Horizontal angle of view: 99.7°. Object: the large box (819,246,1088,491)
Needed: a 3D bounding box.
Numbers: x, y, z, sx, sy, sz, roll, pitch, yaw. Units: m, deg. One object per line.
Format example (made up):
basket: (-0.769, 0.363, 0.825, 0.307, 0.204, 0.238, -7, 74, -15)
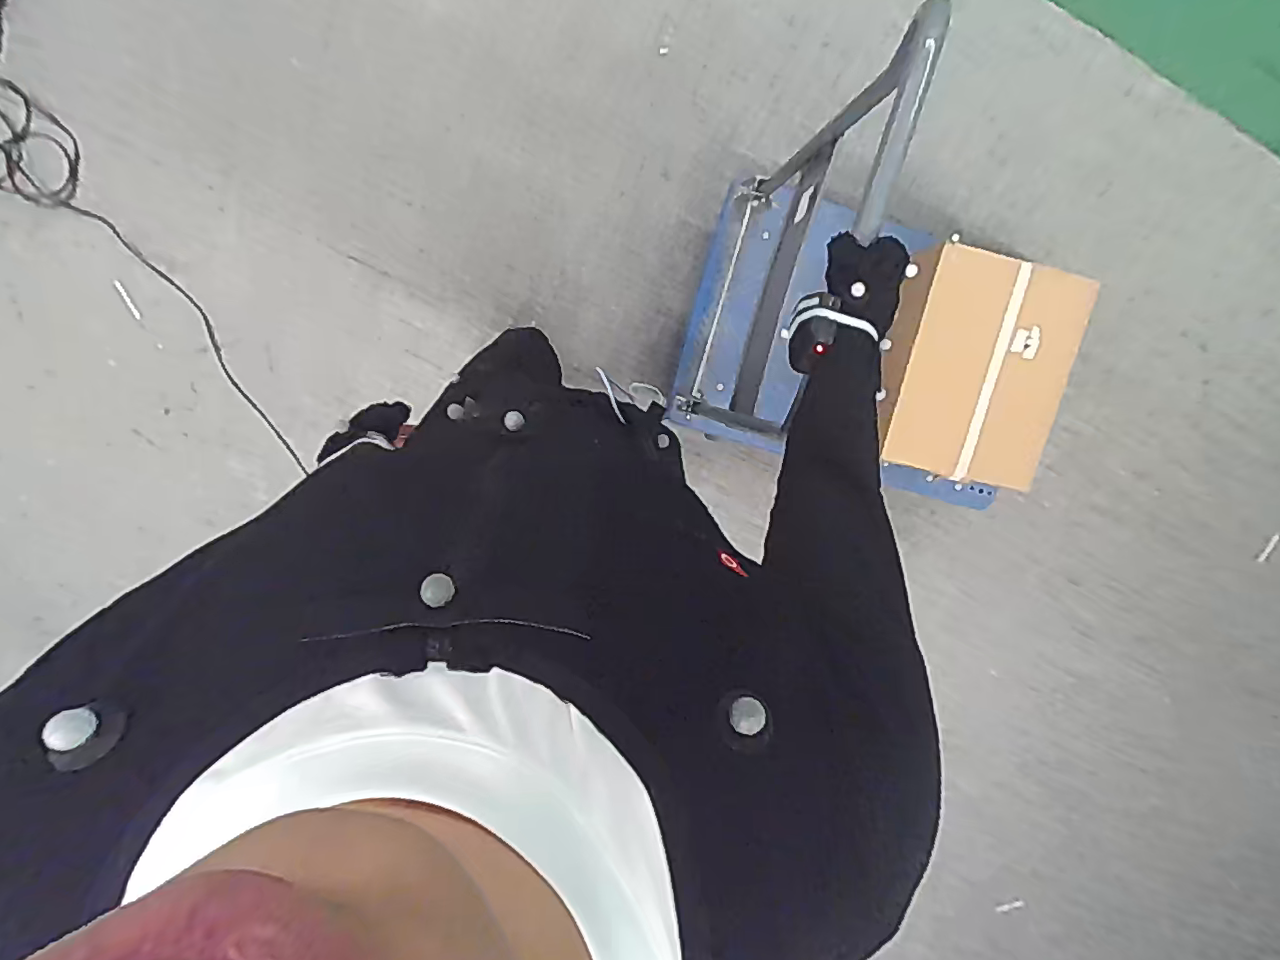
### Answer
large box: (0.625, -0.219, 1.150, 0.320, 0.320, 0.408, 12, 98, -7)
